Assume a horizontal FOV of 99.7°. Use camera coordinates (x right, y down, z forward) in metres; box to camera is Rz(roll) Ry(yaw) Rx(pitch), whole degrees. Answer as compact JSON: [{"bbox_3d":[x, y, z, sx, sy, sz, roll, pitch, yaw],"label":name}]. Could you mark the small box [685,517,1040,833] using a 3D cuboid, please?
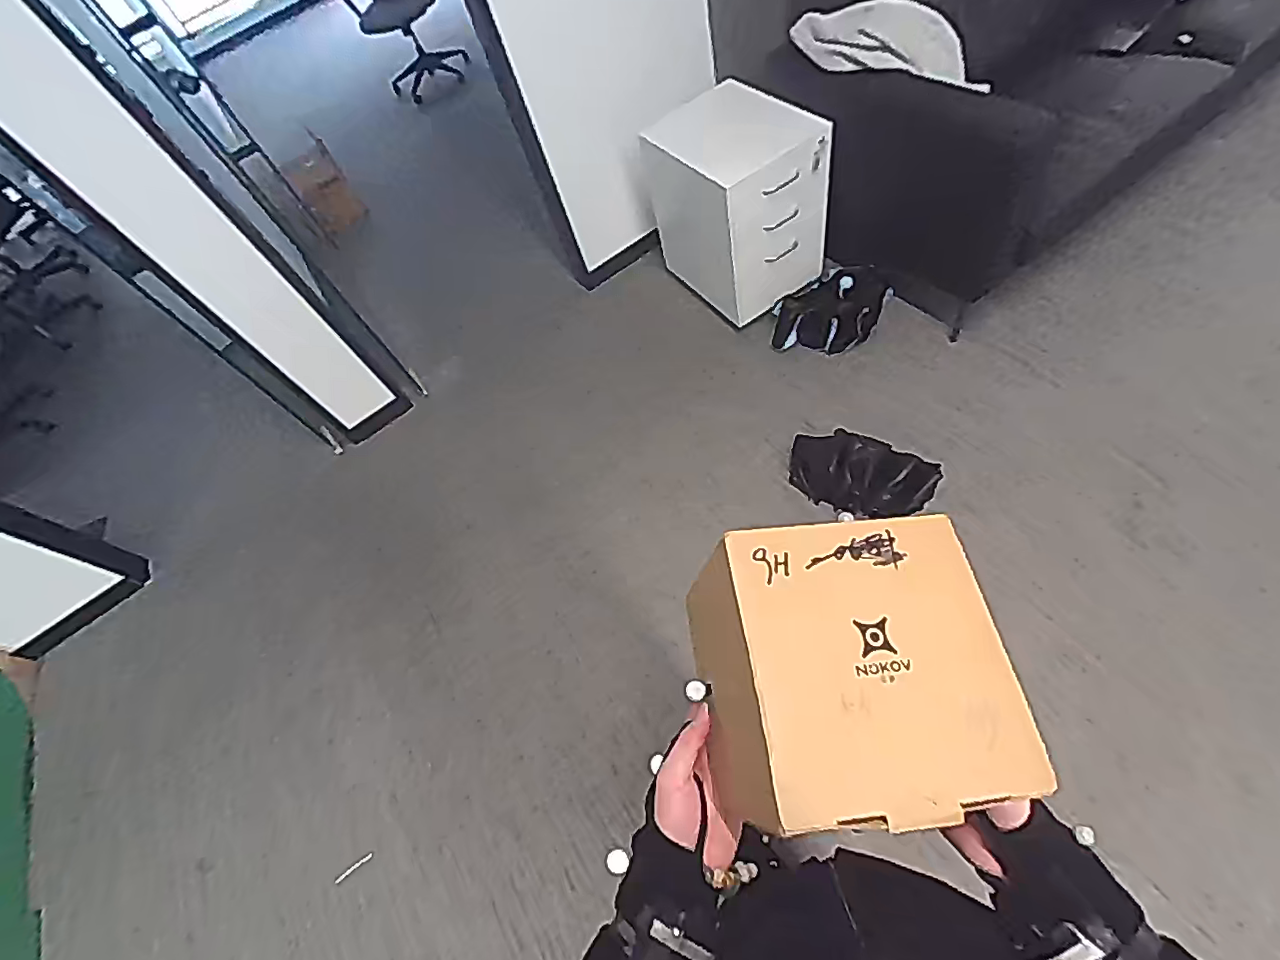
[{"bbox_3d":[0.136,0.142,0.408,0.168,0.176,0.179,-3,65,-8],"label":"small box"}]
